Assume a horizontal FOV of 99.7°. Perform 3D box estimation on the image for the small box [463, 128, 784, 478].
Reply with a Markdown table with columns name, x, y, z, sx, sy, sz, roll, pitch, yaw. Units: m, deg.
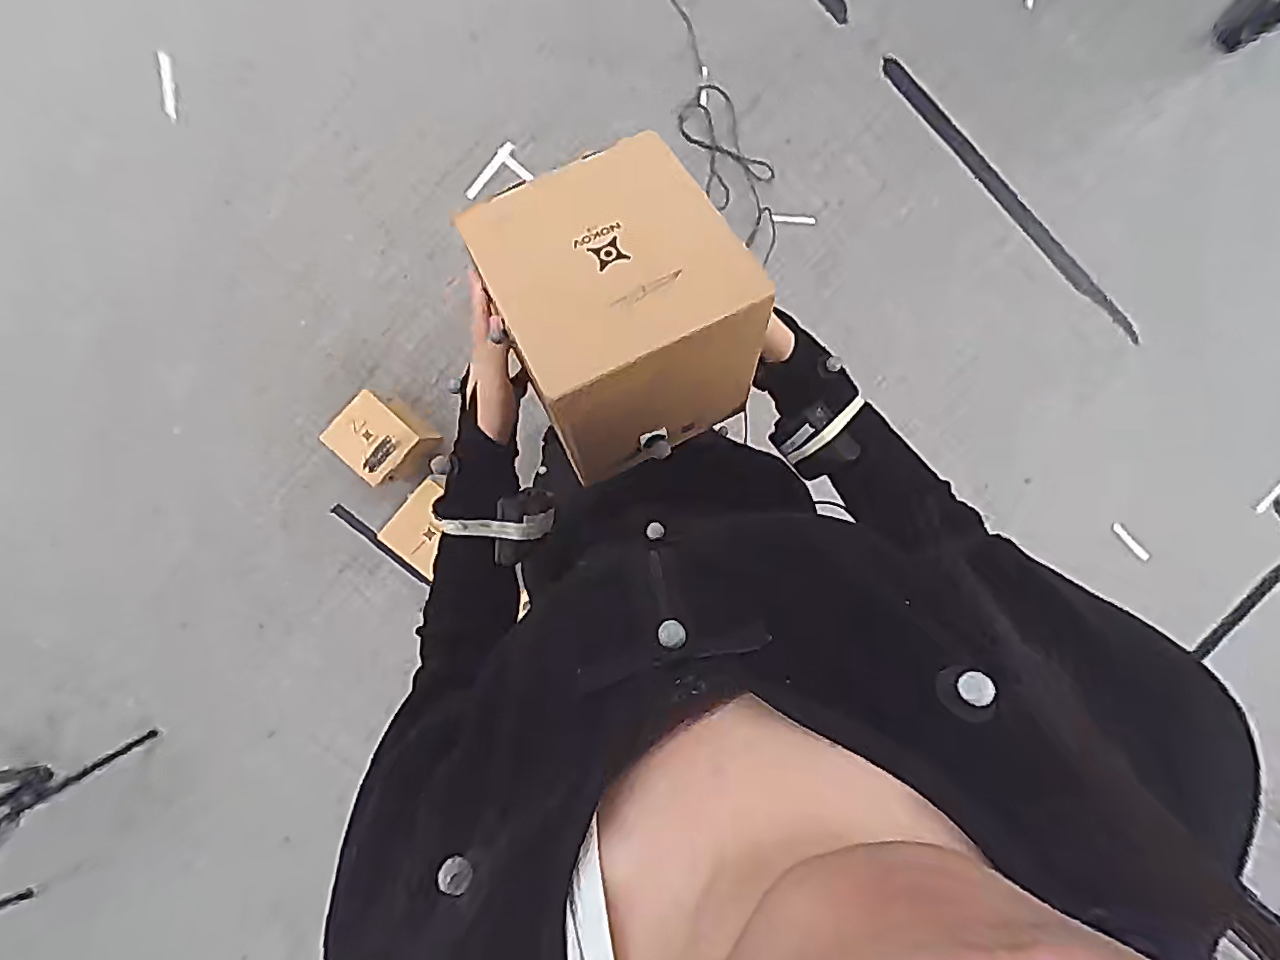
| name | x | y | z | sx | sy | sz | roll | pitch | yaw |
| --- | --- | --- | --- | --- | --- | --- | --- | --- | --- |
| small box | -0.014 | -0.129 | 0.439 | 0.168 | 0.176 | 0.179 | -26 | 71 | -7 |

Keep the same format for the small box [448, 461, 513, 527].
| name | x | y | z | sx | sy | sz | roll | pitch | yaw |
| --- | --- | --- | --- | --- | --- | --- | --- | --- | --- |
| small box | -0.450 | 0.070 | 1.386 | 0.179 | 0.176 | 0.168 | -45 | 97 | 2 |

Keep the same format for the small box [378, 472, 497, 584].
| name | x | y | z | sx | sy | sz | roll | pitch | yaw |
| --- | --- | --- | --- | --- | --- | --- | --- | --- | --- |
| small box | -0.444 | 0.098 | 1.224 | 0.168 | 0.176 | 0.179 | 41 | 94 | -7 |
